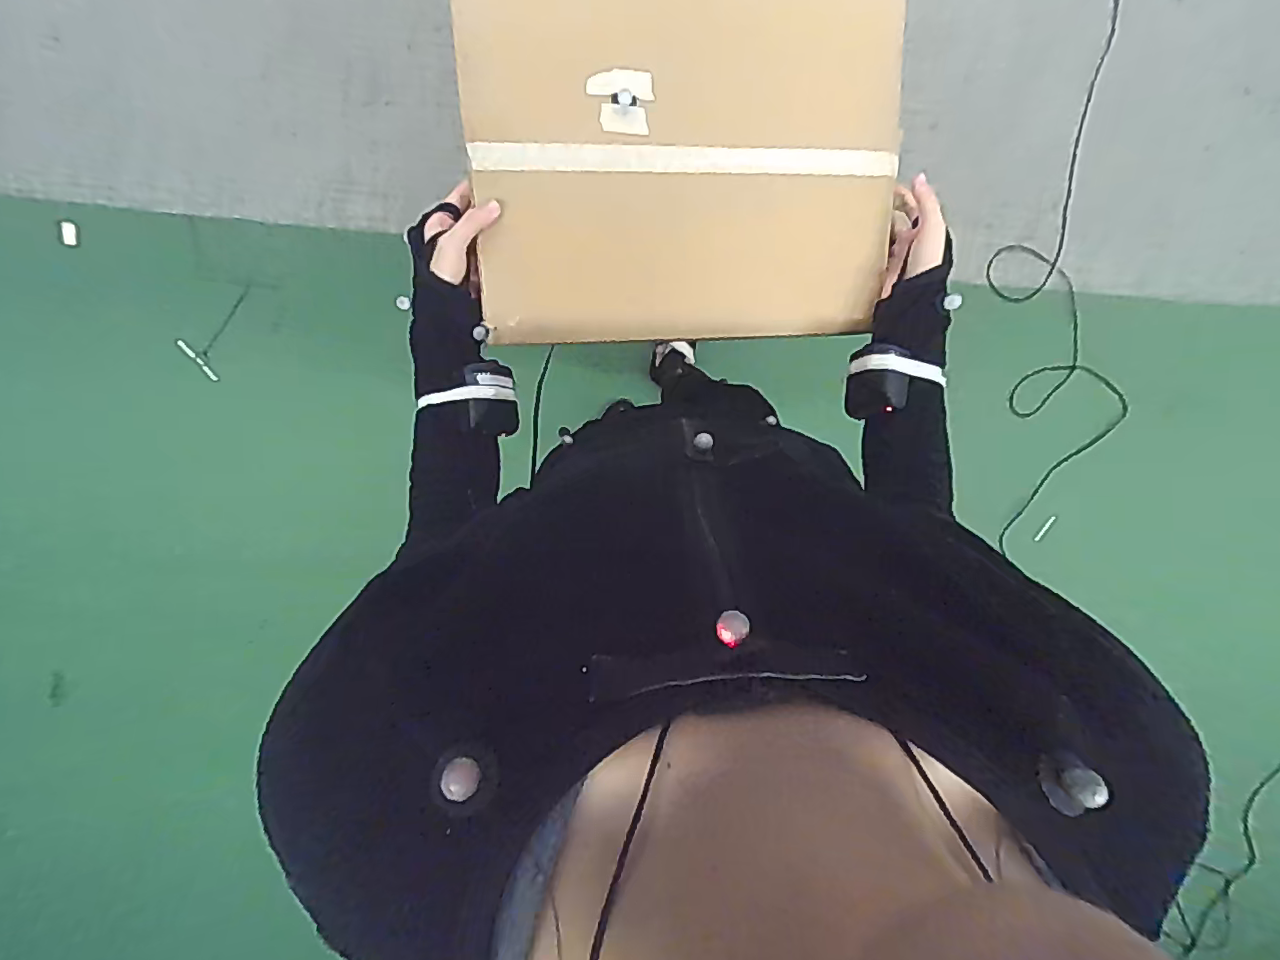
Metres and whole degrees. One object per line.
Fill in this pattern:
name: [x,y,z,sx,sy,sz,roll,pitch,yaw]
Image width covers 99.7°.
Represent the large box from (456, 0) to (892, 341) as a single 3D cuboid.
large box: [0.023,-0.338,0.655,0.408,0.320,0.320,-4,105,-9]
